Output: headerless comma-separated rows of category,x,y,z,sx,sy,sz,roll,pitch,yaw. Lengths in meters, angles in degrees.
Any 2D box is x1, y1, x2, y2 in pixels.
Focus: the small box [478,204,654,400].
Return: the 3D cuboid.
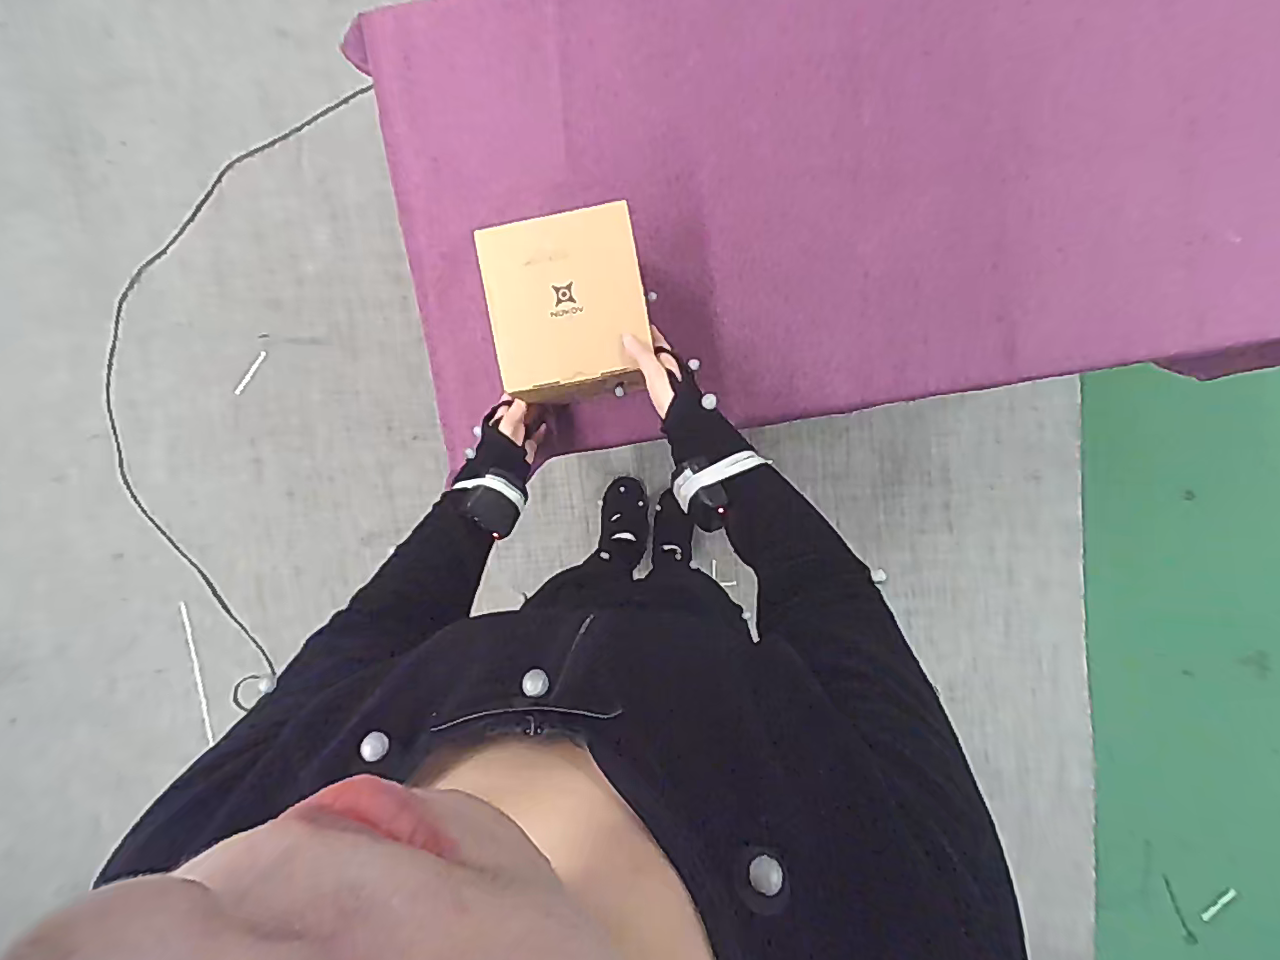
small box,-0.076,-0.196,0.649,0.168,0.176,0.179,-10,92,1
